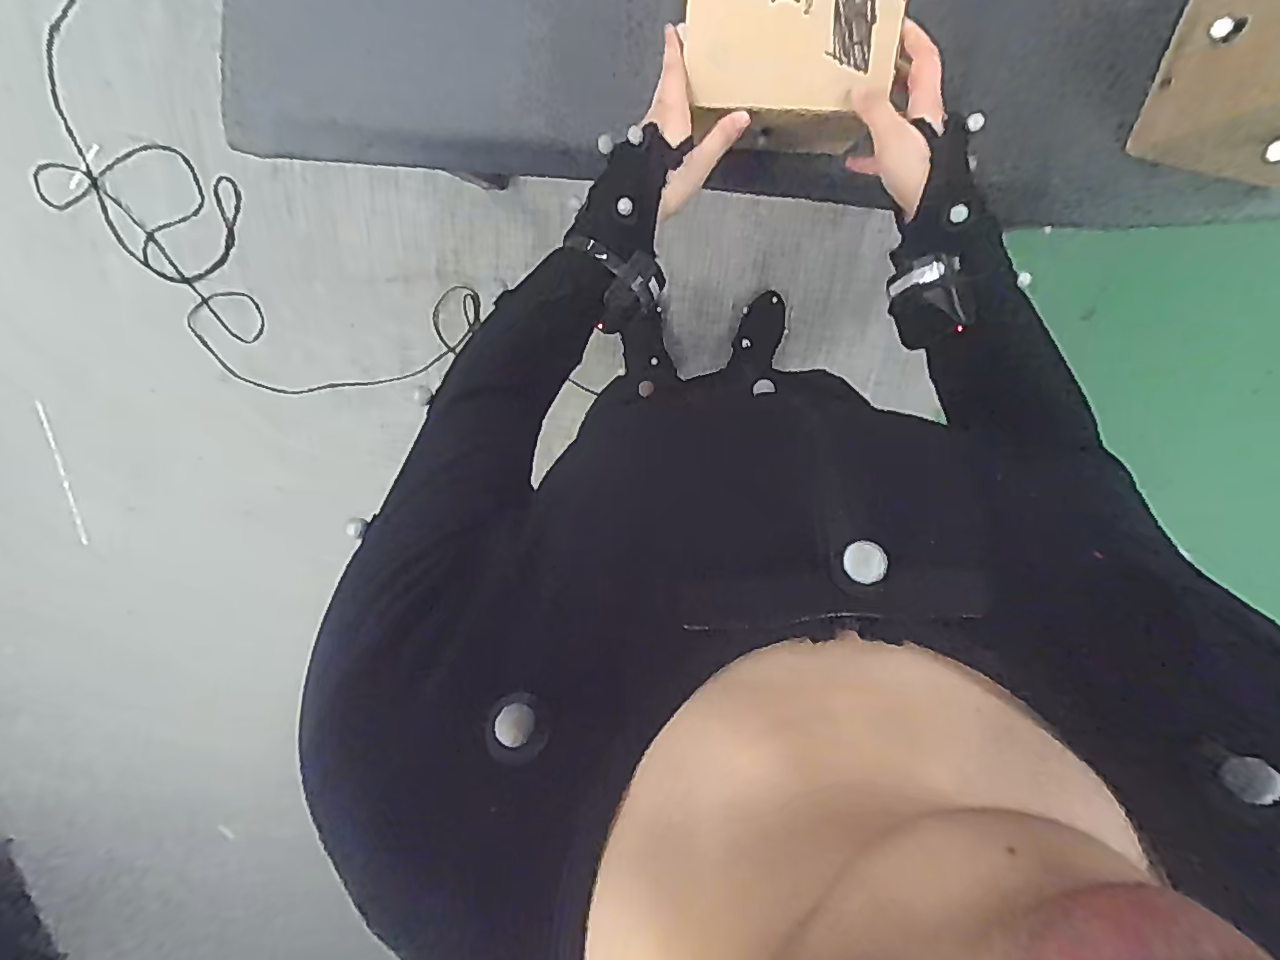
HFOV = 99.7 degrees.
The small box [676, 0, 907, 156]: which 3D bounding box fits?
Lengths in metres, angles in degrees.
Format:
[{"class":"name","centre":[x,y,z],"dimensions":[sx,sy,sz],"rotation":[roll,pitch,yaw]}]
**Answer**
[{"class":"small box","centre":[0.132,-0.409,0.499],"dimensions":[0.179,0.176,0.168],"rotation":[6,113,7]}]

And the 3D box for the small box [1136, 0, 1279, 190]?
[{"class":"small box","centre":[0.616,-0.377,0.481],"dimensions":[0.179,0.176,0.168],"rotation":[13,108,0]}]
